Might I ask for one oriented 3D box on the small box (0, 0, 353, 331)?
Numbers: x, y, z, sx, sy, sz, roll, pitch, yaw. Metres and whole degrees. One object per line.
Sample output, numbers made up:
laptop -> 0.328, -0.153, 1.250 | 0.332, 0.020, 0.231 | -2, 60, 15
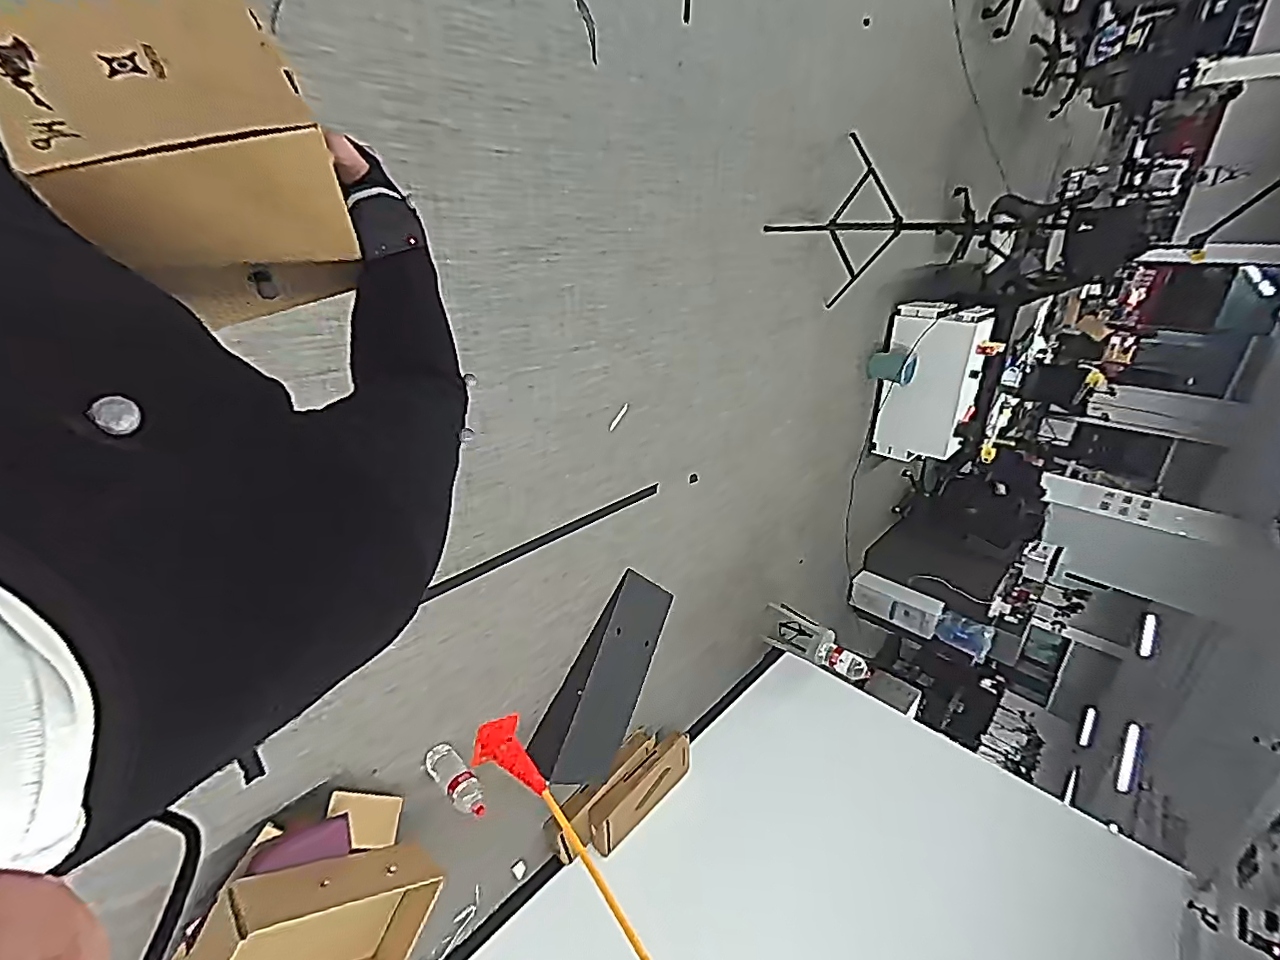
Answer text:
small box -> -0.372, -0.261, 0.464 | 0.179, 0.168, 0.176 | -28, 166, -22
